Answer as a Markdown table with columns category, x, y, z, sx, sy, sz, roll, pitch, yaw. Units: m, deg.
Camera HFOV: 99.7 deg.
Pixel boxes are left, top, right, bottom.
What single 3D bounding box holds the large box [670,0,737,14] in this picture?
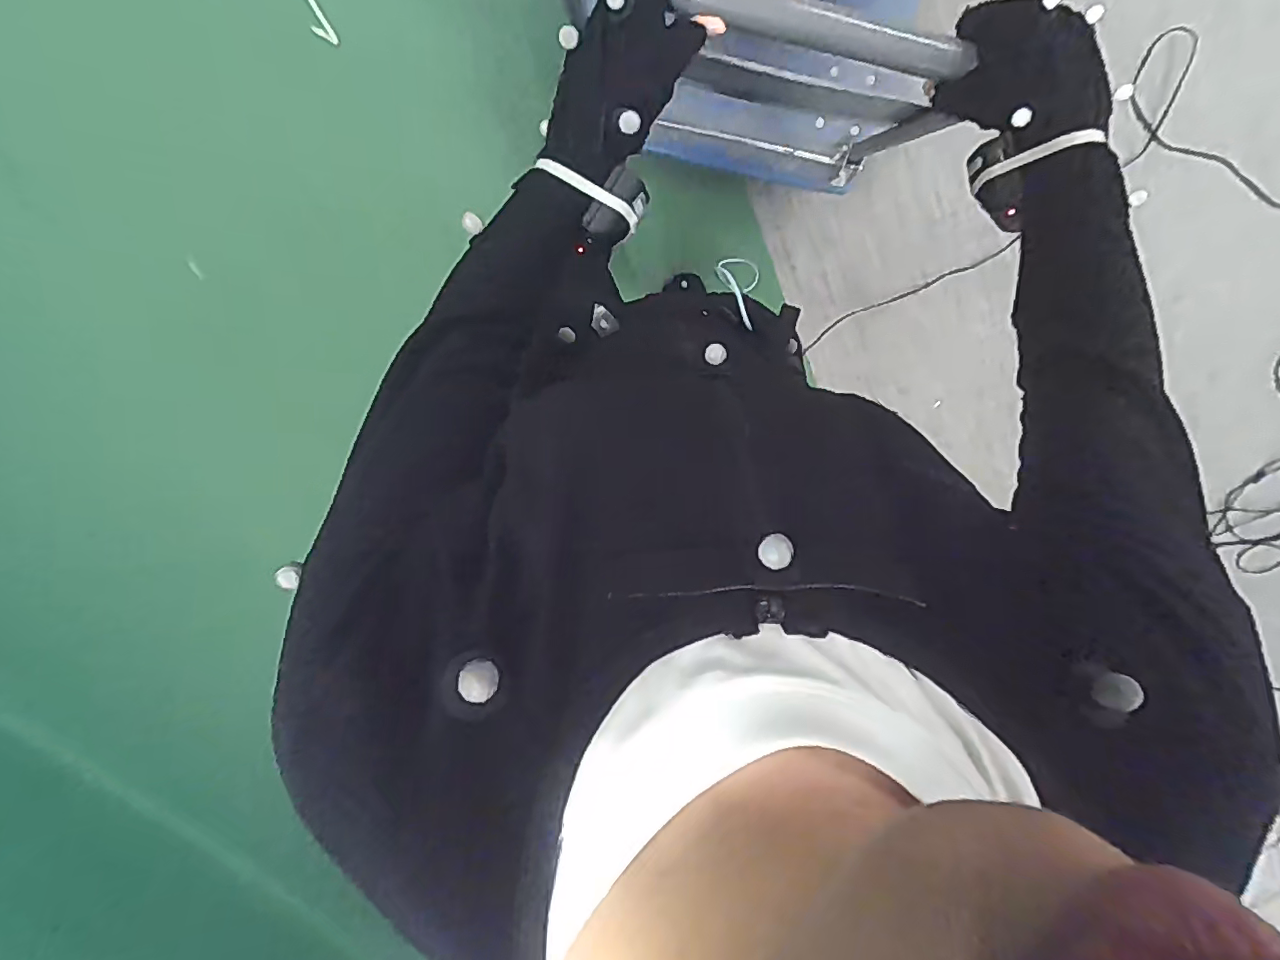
| category | x | y | z | sx | sy | sz | roll | pitch | yaw |
| --- | --- | --- | --- | --- | --- | --- | --- | --- | --- |
| large box | 0.221 | -0.925 | 0.747 | 0.408 | 0.320 | 0.320 | -9 | 115 | 6 |
